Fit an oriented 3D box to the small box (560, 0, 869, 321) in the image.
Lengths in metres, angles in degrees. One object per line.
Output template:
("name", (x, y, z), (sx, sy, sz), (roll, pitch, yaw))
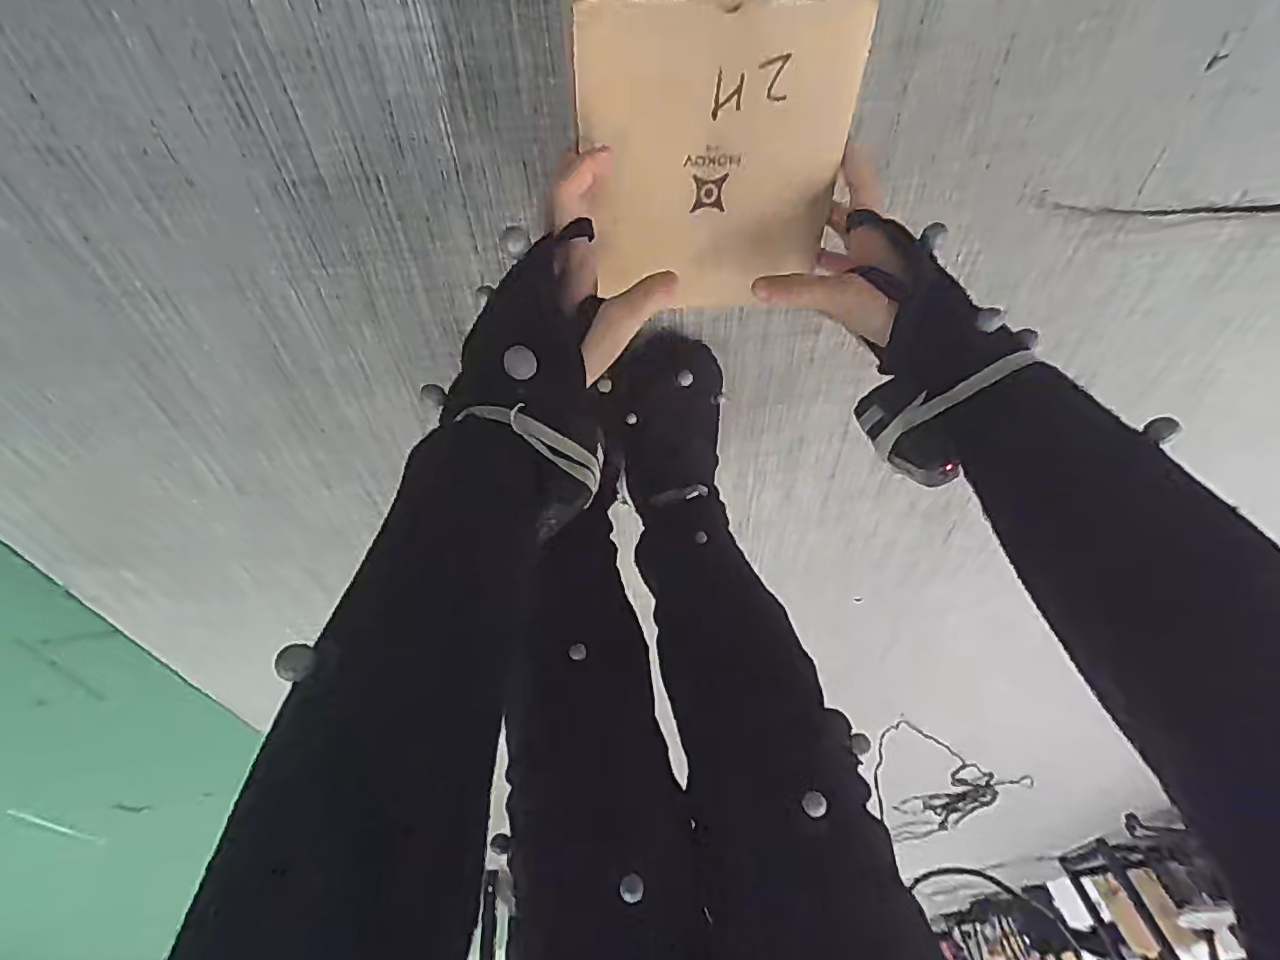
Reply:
("small box", (0.032, -0.238, 0.395), (0.168, 0.176, 0.179), (-5, 135, -6))
